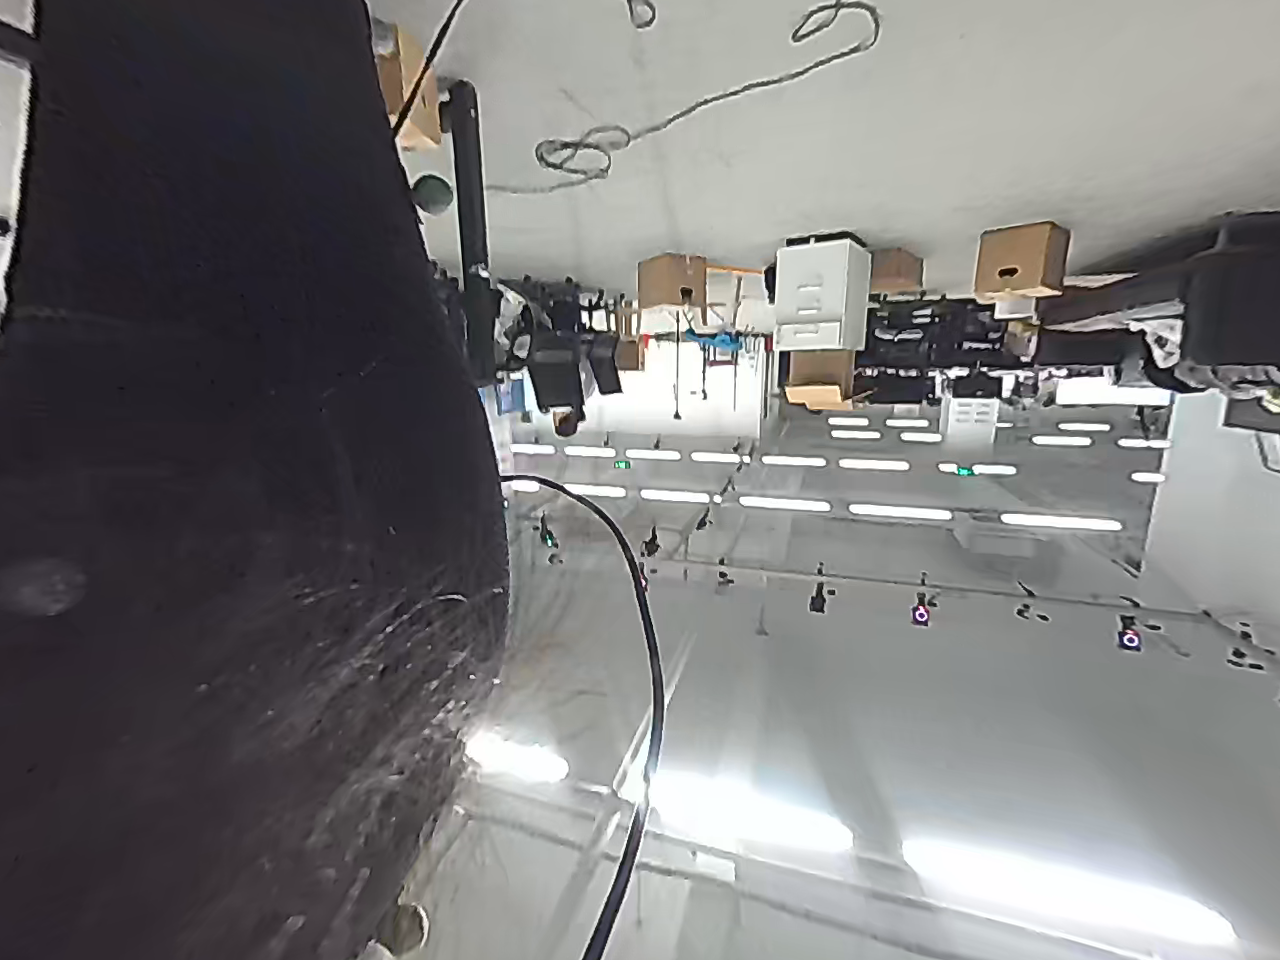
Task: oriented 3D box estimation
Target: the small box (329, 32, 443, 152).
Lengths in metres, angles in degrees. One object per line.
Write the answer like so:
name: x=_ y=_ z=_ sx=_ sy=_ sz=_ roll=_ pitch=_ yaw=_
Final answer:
small box: x=-0.563 y=-0.862 z=1.213 sx=0.168 sy=0.176 sz=0.179 roll=0 pitch=-167 yaw=5
